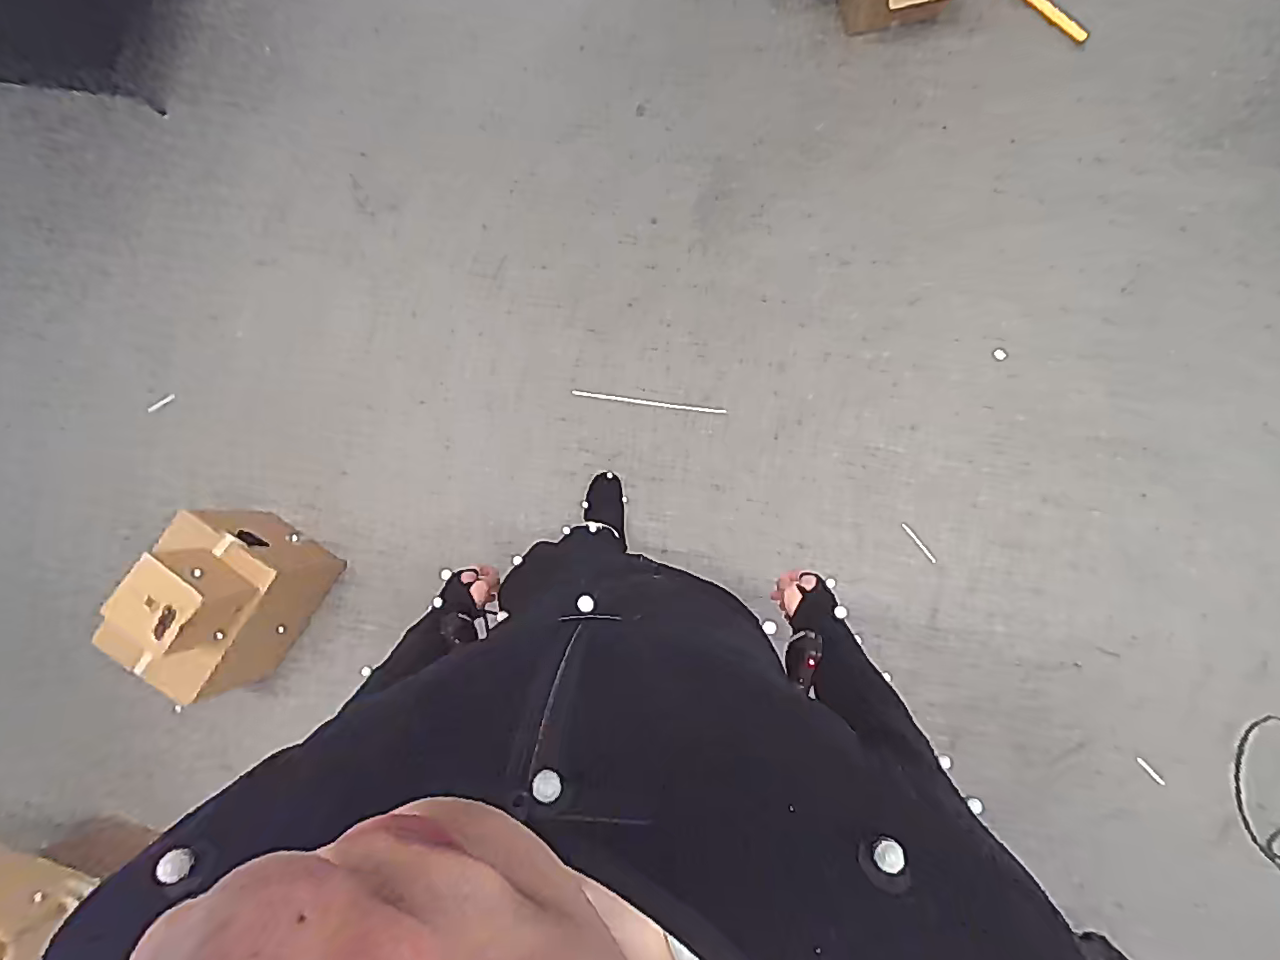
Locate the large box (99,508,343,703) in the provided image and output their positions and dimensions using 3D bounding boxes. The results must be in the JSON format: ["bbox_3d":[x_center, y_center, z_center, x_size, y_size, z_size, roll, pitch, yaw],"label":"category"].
[{"bbox_3d":[-1.138,0.321,1.514,0.320,0.320,0.408,32,88,4],"label":"large box"}]

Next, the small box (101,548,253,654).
[{"bbox_3d":[-1.070,0.273,1.269,0.179,0.176,0.168,36,87,3],"label":"small box"}]
